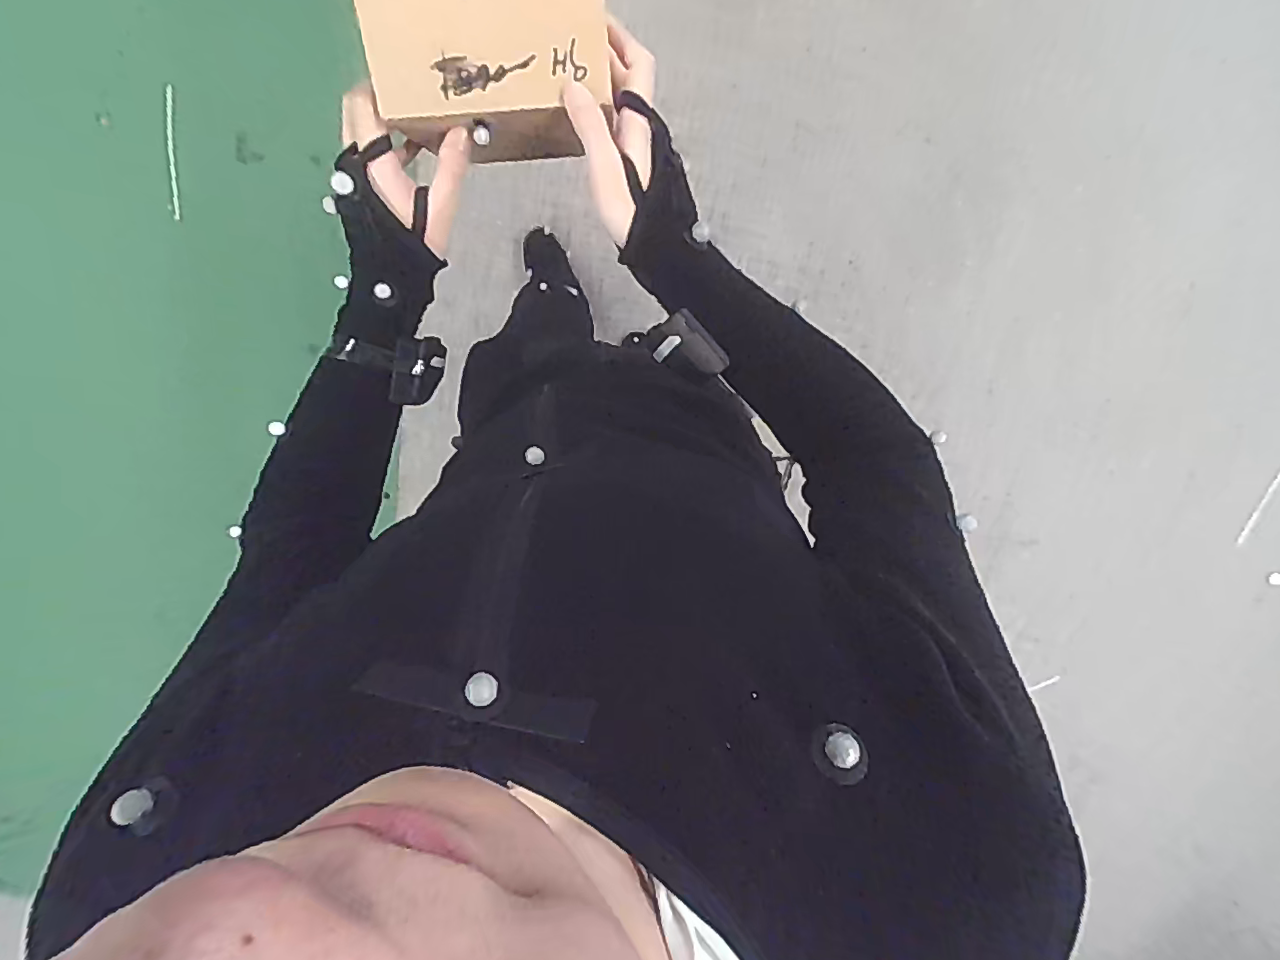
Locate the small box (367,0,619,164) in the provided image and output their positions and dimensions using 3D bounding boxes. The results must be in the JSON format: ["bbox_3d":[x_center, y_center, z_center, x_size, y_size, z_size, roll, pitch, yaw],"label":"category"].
[{"bbox_3d":[-0.105,-0.370,0.428,0.168,0.176,0.179,-4,110,-1],"label":"small box"}]
